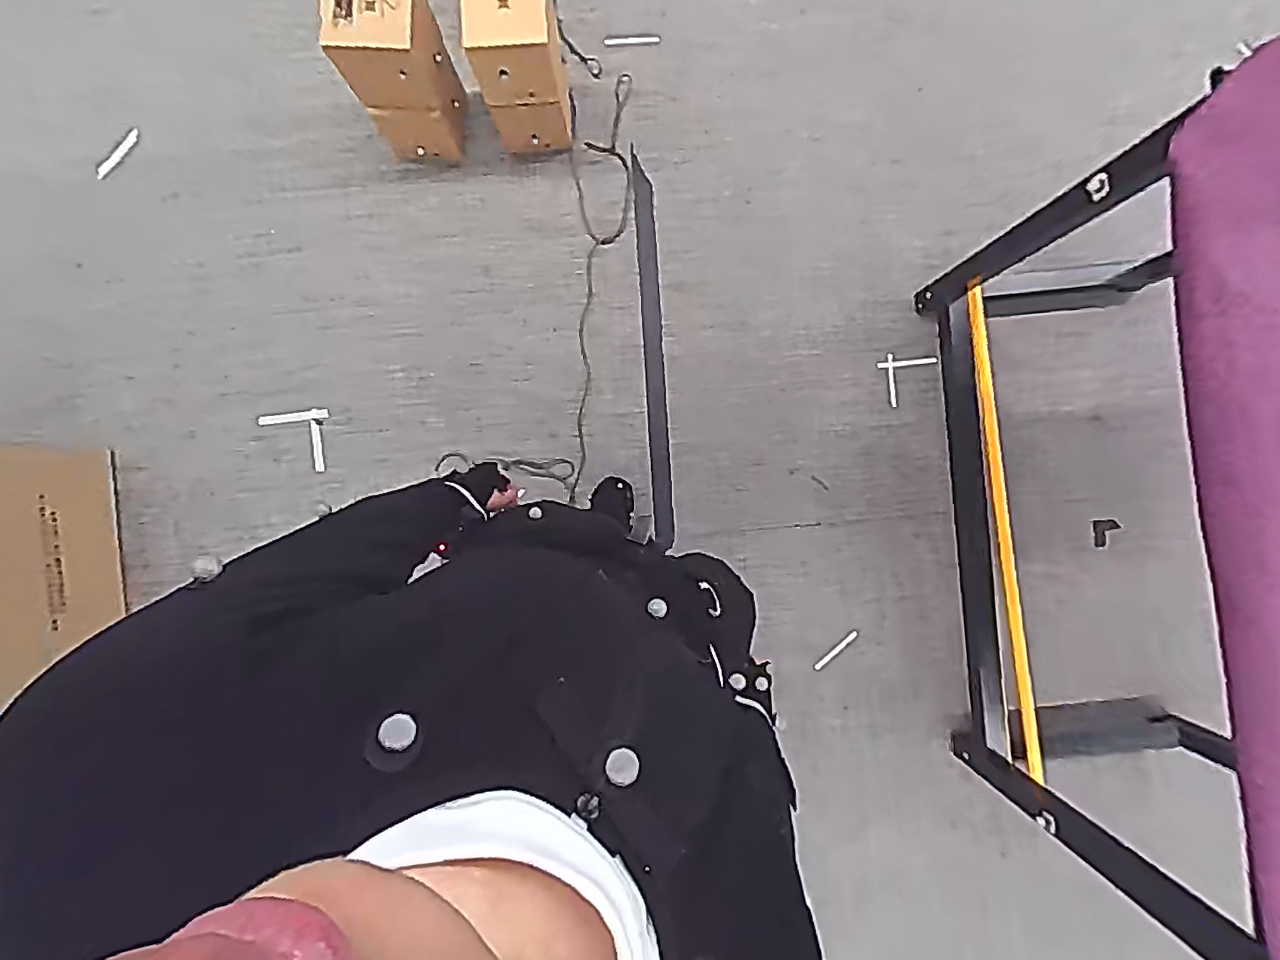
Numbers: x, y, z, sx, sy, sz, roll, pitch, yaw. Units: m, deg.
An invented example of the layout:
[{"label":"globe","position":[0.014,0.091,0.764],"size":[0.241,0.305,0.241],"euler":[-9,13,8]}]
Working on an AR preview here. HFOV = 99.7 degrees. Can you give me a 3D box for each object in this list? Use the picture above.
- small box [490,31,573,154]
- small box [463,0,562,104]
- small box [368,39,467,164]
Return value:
[{"label":"small box","position":[-0.253,-0.909,1.280],"size":[0.168,0.176,0.179],"euler":[-3,90,1]},{"label":"small box","position":[-0.256,-0.912,1.117],"size":[0.168,0.176,0.179],"euler":[-3,88,1]},{"label":"small box","position":[-0.517,-0.887,1.277],"size":[0.168,0.176,0.179],"euler":[3,90,0]}]
